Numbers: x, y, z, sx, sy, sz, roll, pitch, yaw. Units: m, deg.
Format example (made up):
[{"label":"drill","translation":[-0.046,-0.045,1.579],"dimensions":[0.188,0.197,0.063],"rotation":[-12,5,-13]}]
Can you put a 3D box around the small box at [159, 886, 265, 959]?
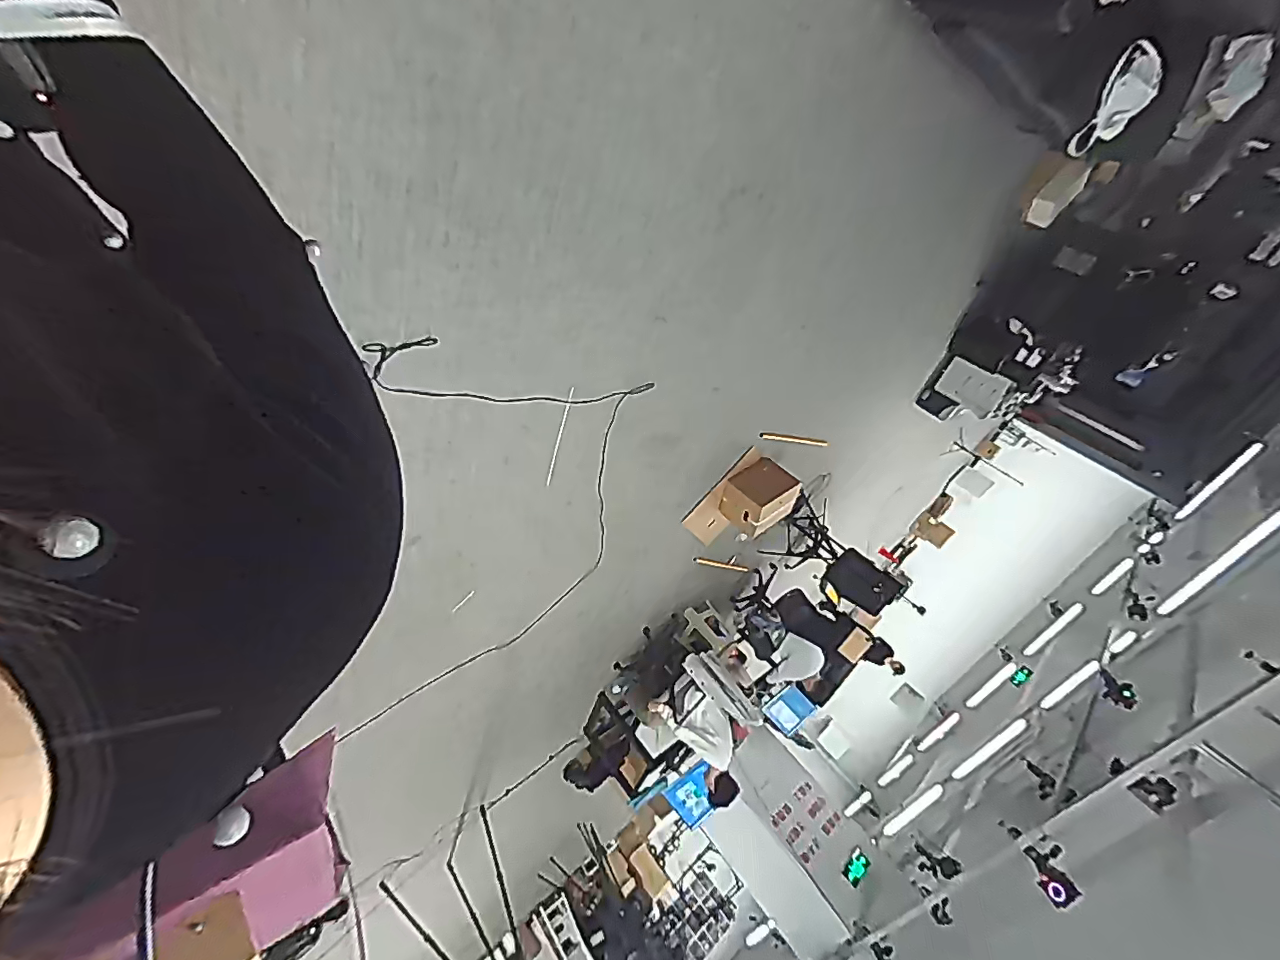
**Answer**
[{"label":"small box","translation":[-1.021,1.133,1.294],"dimensions":[0.179,0.176,0.168],"rotation":[-15,138,-41]}]
